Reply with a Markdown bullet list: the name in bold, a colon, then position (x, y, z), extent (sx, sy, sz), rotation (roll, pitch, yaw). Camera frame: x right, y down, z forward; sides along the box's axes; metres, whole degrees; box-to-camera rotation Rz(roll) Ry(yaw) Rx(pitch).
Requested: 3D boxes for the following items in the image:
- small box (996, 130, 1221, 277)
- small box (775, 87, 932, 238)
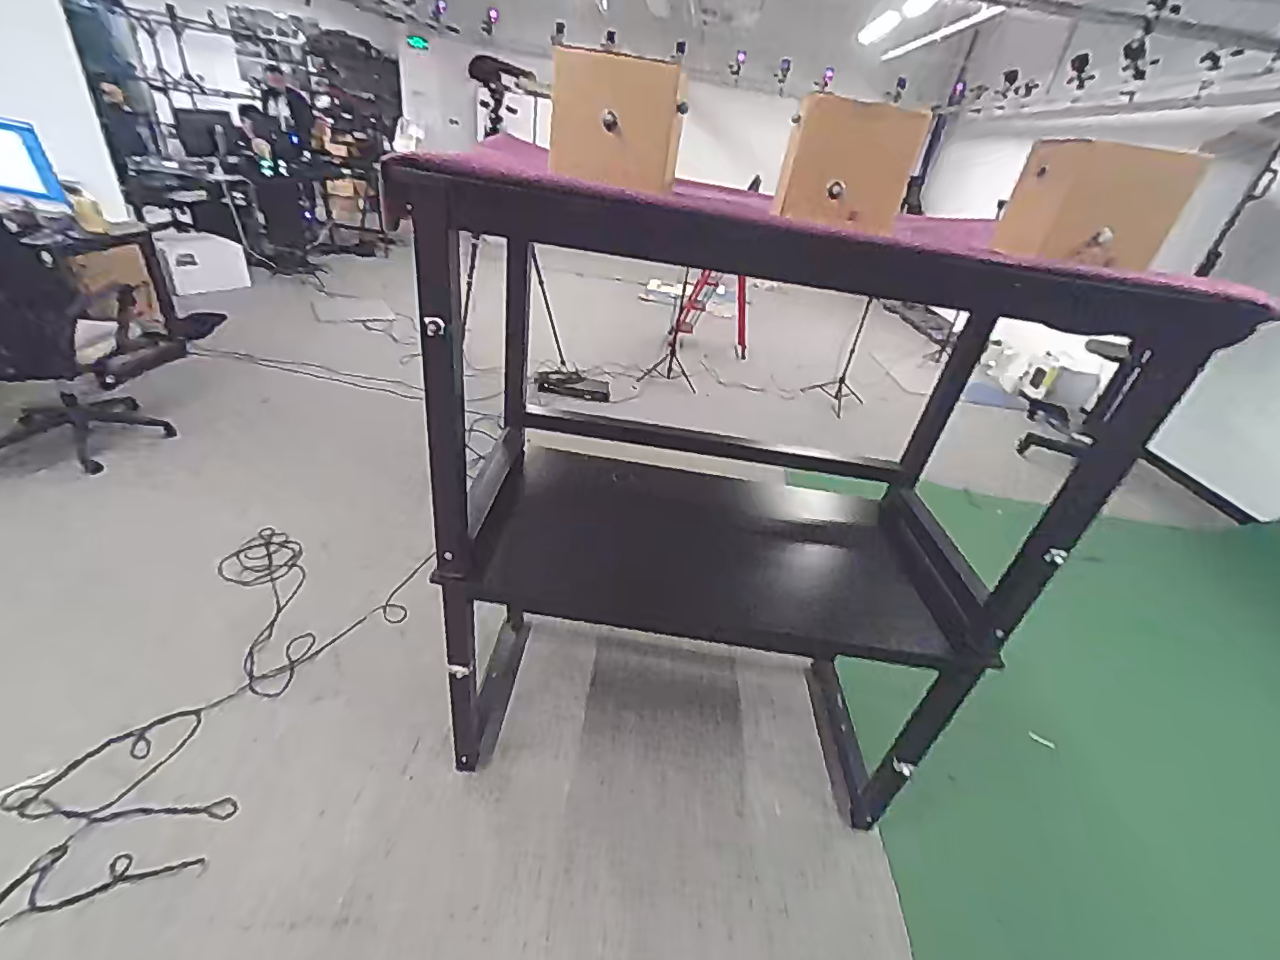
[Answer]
- **small box**: position (0.695, -0.426, 0.835), extent (0.168, 0.176, 0.179), rotation (11, 33, 4)
- **small box**: position (0.314, -0.486, 0.841), extent (0.168, 0.176, 0.179), rotation (11, 31, 3)
